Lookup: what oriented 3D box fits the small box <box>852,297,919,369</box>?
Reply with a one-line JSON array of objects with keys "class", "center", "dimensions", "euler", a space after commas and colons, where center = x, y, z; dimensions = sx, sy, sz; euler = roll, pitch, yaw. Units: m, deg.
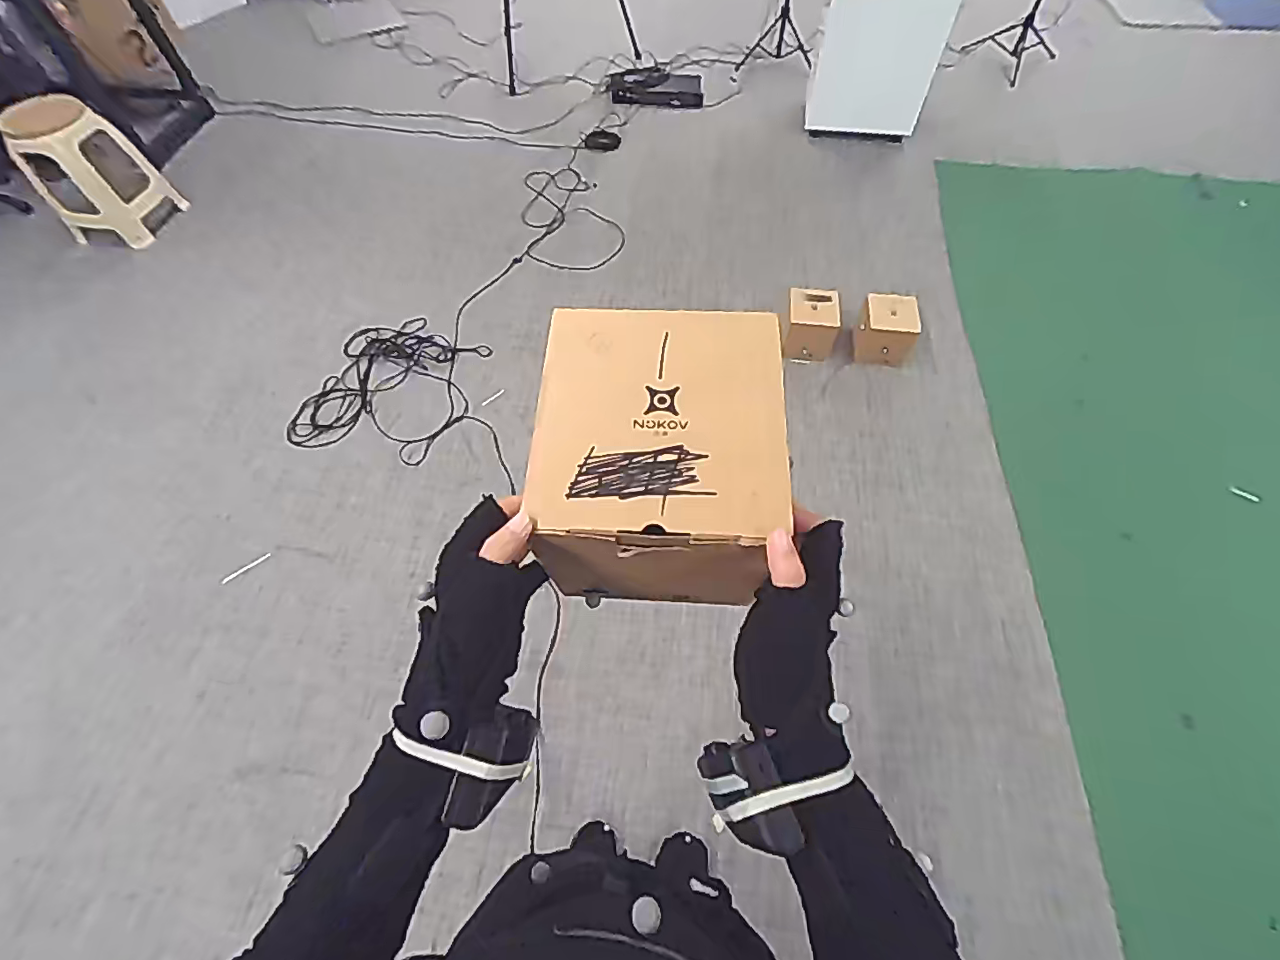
[{"class": "small box", "center": [0.854, -0.512, 1.893], "dimensions": [0.168, 0.176, 0.179], "euler": [7, 59, 5]}]
